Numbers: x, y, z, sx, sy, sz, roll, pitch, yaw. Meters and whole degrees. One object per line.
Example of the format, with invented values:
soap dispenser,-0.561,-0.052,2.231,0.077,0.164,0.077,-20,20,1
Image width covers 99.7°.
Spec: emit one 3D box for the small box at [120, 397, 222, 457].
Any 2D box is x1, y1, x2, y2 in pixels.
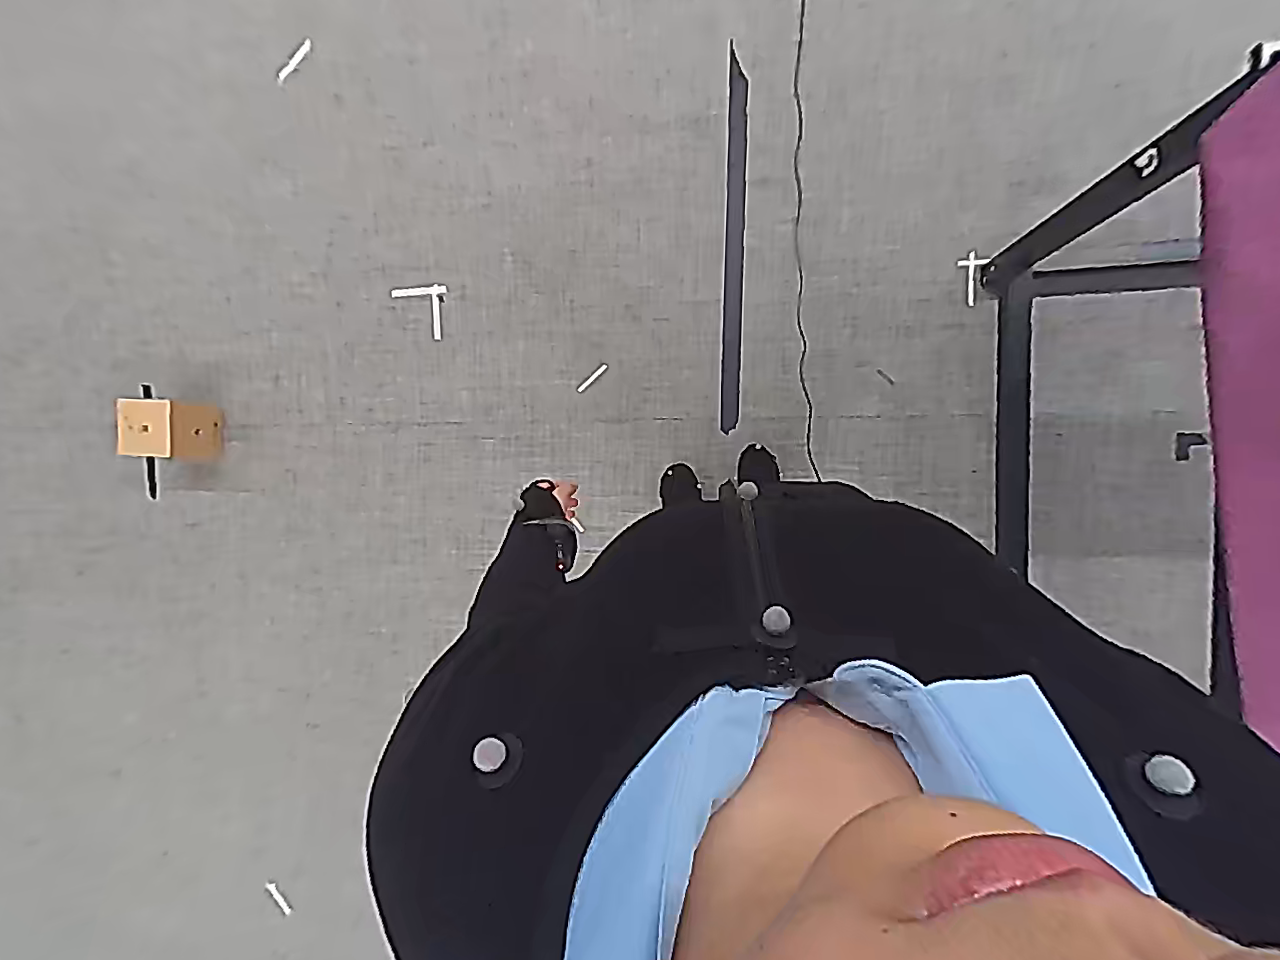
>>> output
small box,-1.406,-0.158,1.629,0.179,0.176,0.168,3,93,8
